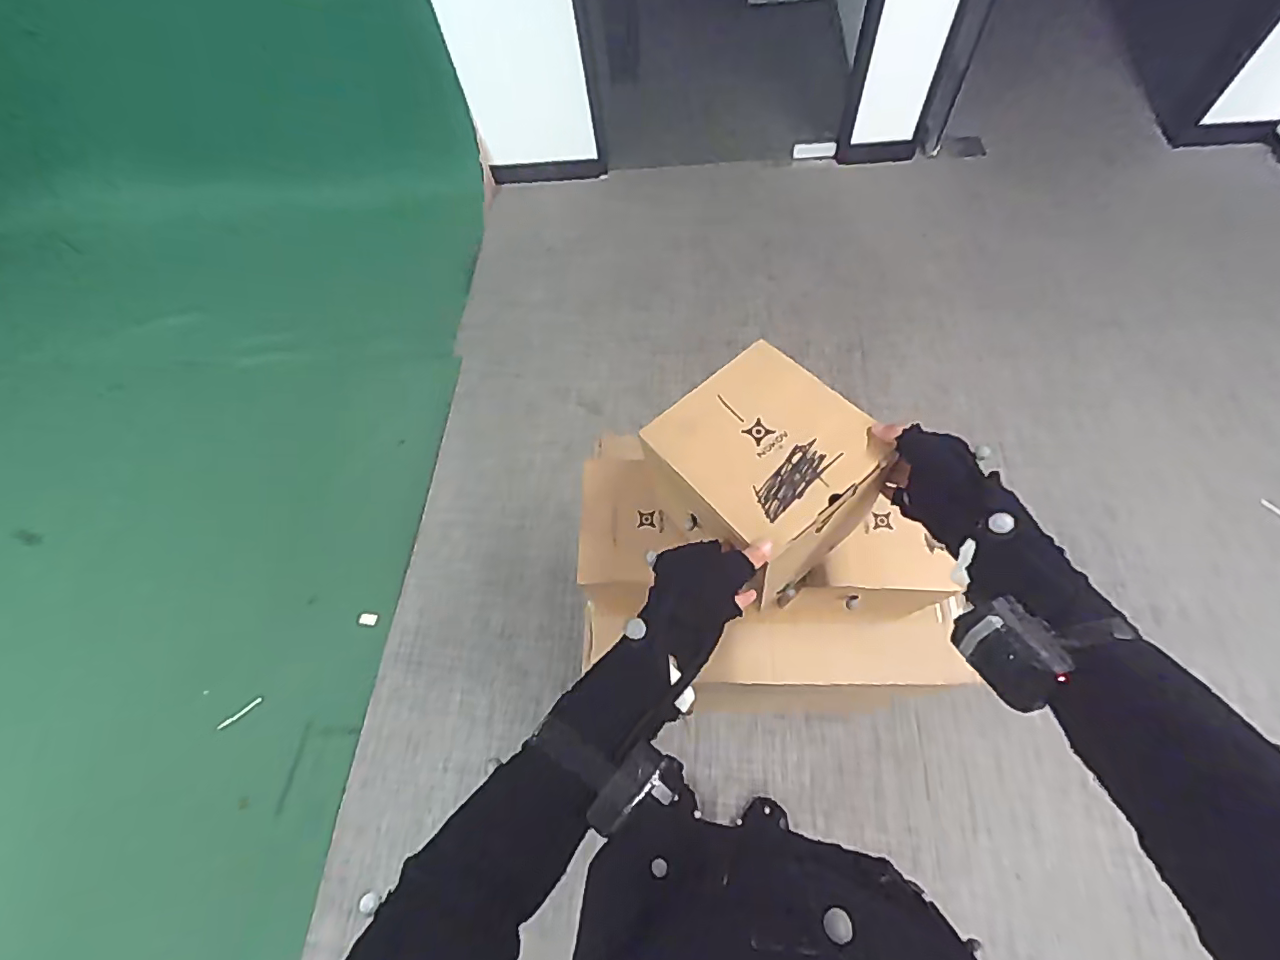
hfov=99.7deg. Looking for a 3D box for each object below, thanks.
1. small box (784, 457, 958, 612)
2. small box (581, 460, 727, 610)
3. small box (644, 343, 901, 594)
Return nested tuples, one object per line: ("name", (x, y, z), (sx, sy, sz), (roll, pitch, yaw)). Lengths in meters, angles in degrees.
("small box", (0.285, 0.078, 0.718), (0.179, 0.176, 0.168), (0, 67, 7))
("small box", (0.025, 0.081, 0.745), (0.179, 0.176, 0.168), (-2, 66, 6))
("small box", (0.130, 0.000, 0.569), (0.168, 0.176, 0.179), (-38, 62, -11))
